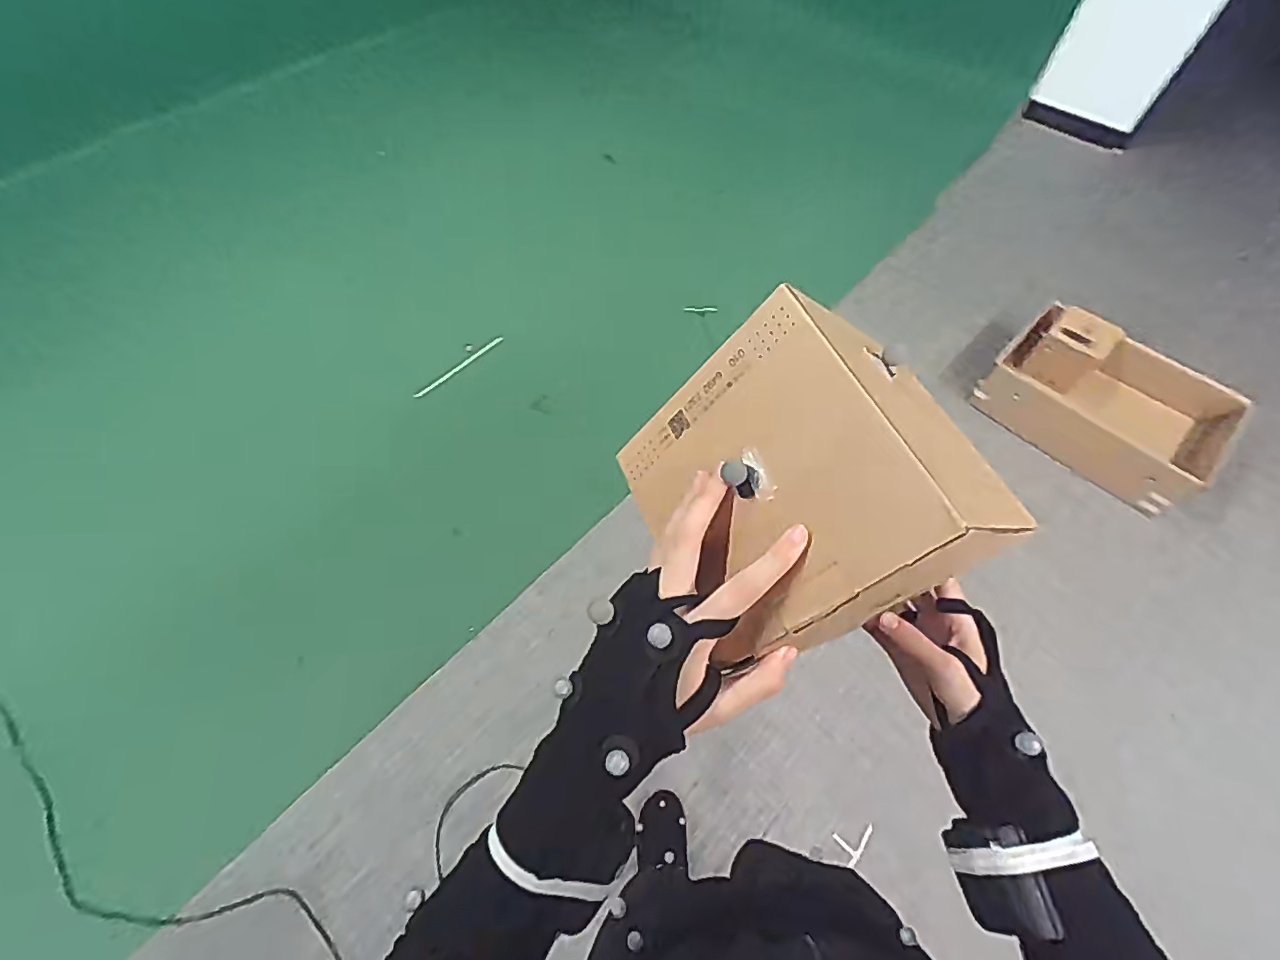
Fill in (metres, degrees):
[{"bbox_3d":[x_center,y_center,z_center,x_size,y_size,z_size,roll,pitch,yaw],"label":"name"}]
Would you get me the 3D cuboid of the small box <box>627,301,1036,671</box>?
[{"bbox_3d":[0.119,0.007,0.371,0.179,0.168,0.176,7,51,-45],"label":"small box"}]
